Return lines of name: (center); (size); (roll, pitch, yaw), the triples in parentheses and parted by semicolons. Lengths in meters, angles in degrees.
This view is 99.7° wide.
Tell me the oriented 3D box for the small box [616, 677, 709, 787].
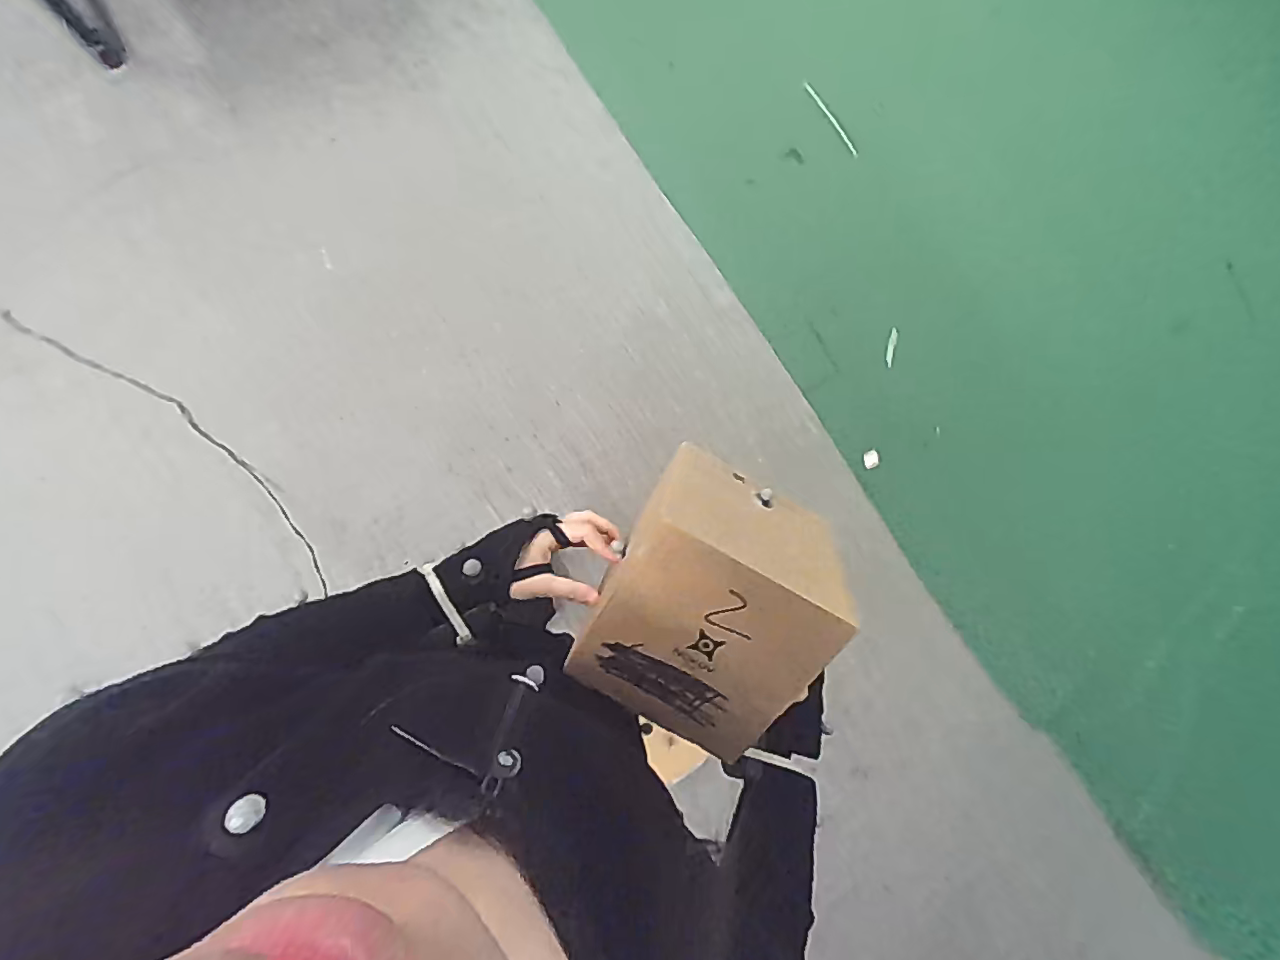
small box: (0.052, 0.637, 1.392); (0.168, 0.176, 0.179); (-30, 85, -11)
